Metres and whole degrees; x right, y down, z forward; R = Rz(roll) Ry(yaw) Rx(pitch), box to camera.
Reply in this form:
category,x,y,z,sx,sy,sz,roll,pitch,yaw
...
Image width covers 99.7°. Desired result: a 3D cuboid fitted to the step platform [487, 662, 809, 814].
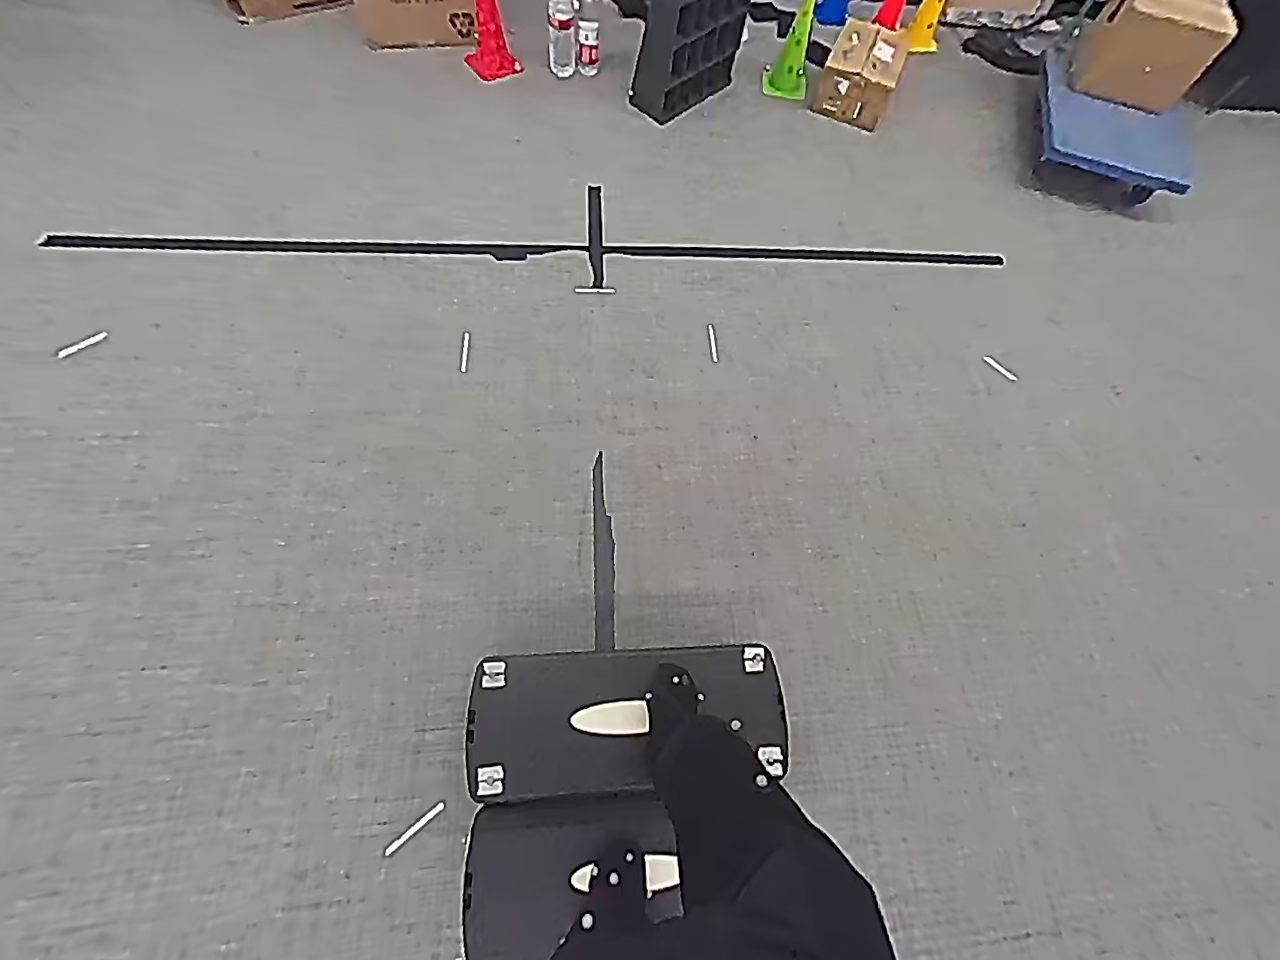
category,x,y,z,sx,sy,sz,roll,pitch,yaw
step platform,0.017,0.564,1.192,0.684,0.204,0.286,3,63,-5
